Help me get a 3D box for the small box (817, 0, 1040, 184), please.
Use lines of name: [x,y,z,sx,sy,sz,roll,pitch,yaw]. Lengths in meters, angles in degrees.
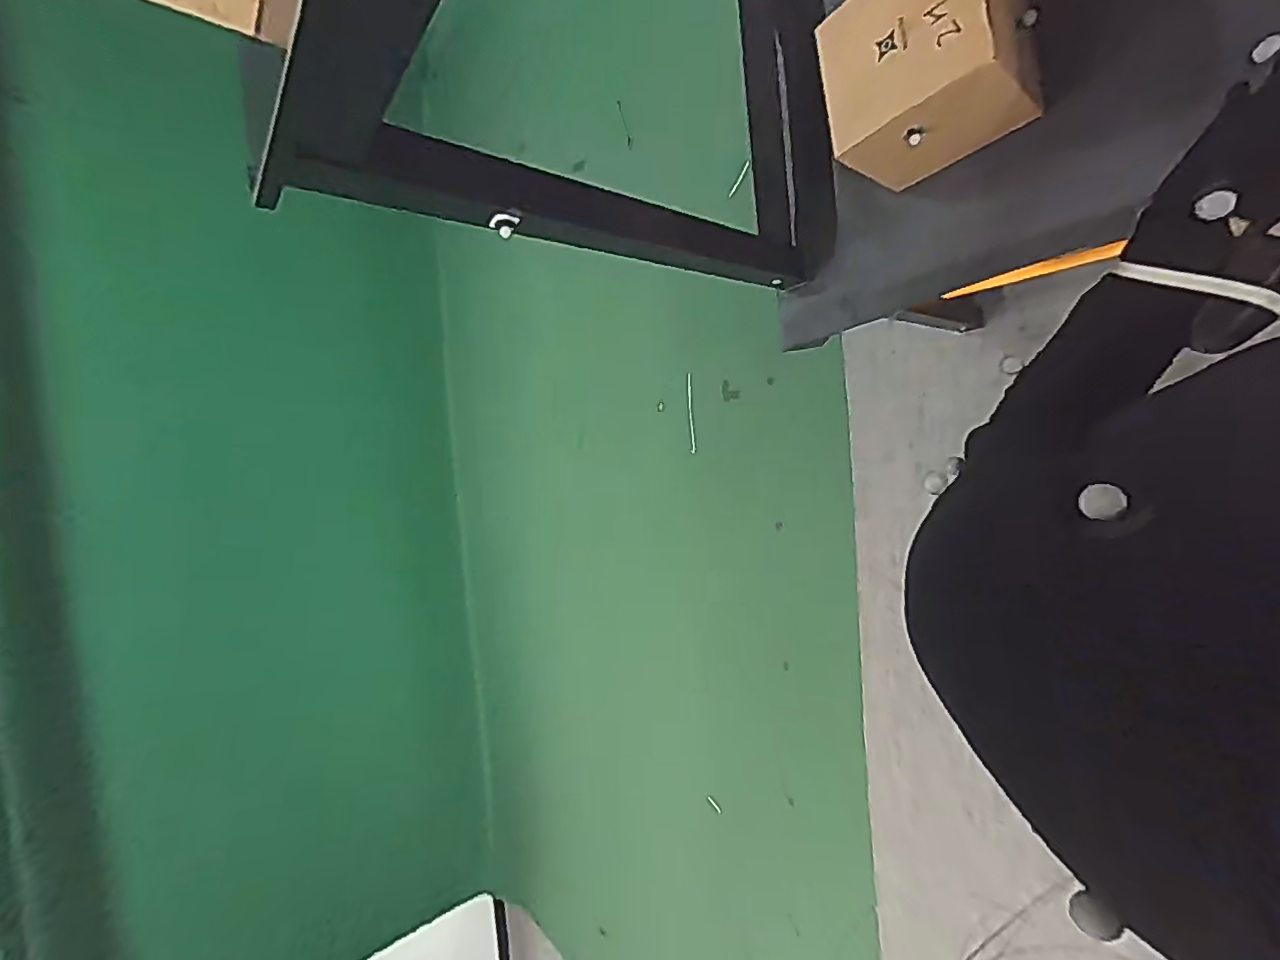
small box: [0.345,-0.492,0.651,0.179,0.176,0.168,-10,88,50]
